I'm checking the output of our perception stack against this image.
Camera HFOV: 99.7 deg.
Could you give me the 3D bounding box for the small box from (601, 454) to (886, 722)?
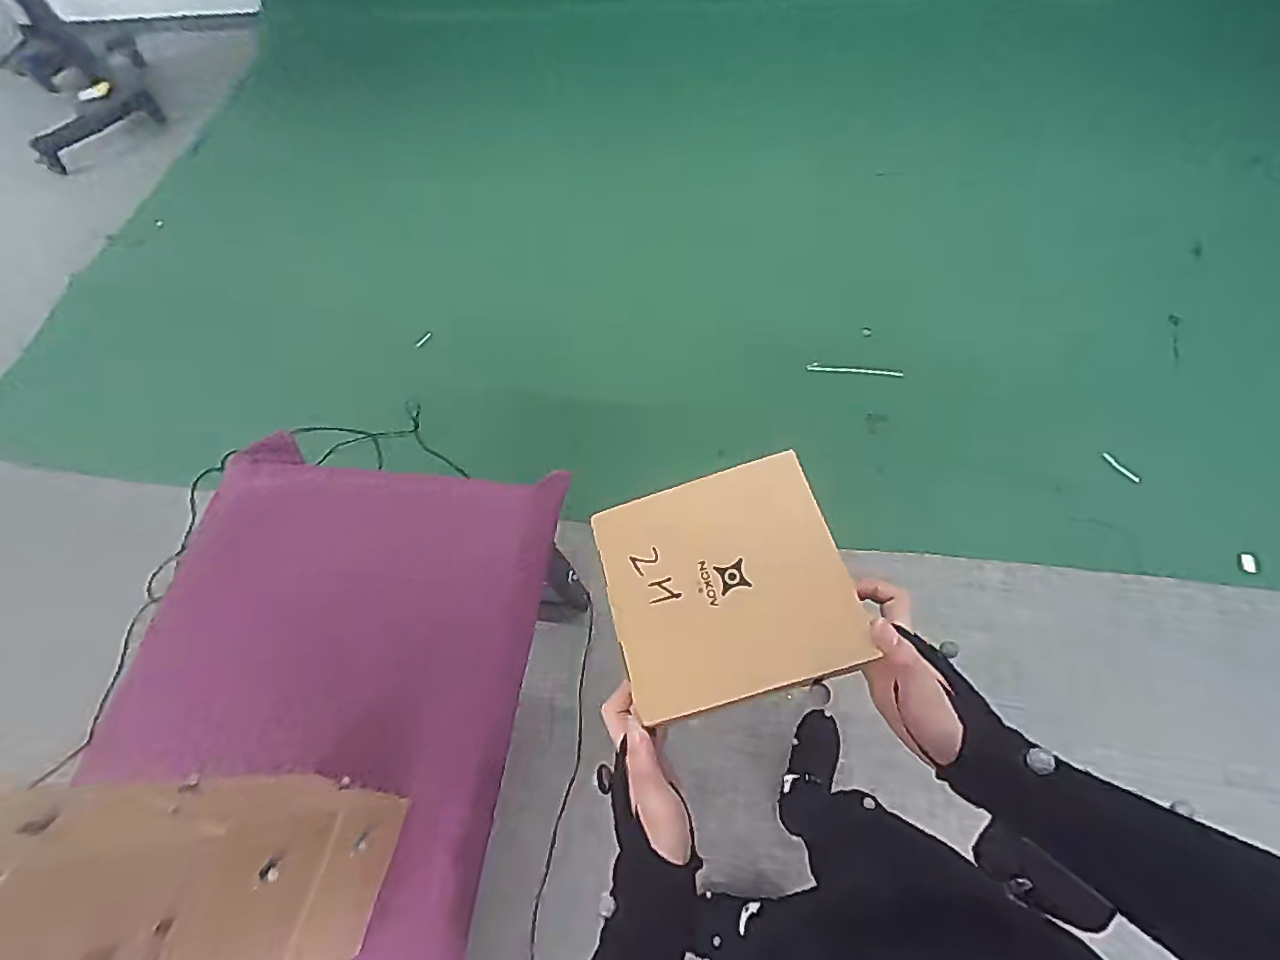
[{"bbox_3d":[0.083,0.104,0.475,0.179,0.176,0.168,-18,63,6],"label":"small box"}]
